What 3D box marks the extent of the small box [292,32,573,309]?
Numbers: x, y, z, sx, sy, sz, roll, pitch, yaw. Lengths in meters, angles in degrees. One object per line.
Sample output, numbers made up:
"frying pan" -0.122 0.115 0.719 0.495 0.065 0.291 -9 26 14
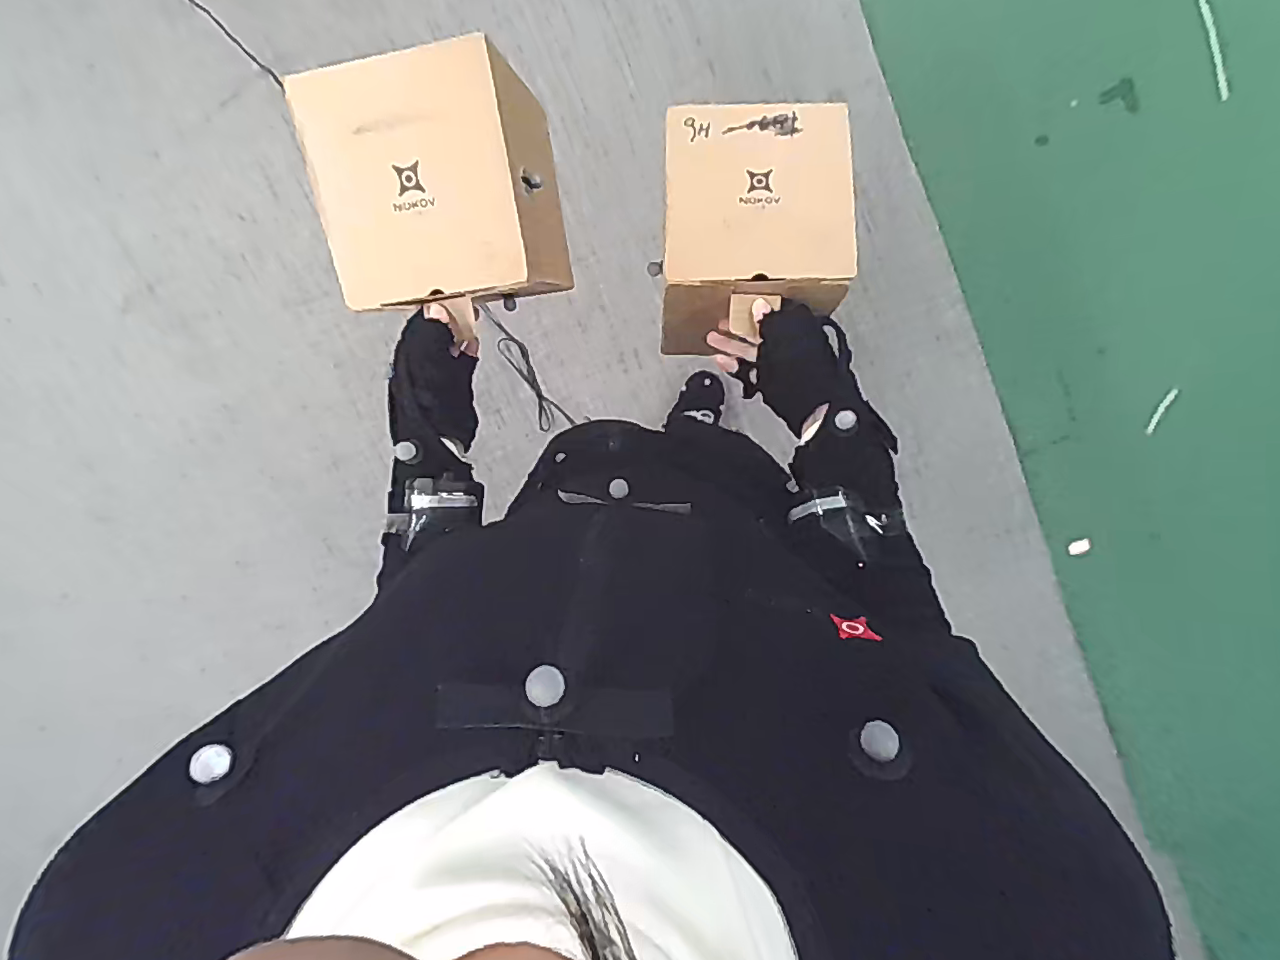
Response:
"small box" -0.171 -0.266 0.511 0.168 0.176 0.179 -7 107 9
